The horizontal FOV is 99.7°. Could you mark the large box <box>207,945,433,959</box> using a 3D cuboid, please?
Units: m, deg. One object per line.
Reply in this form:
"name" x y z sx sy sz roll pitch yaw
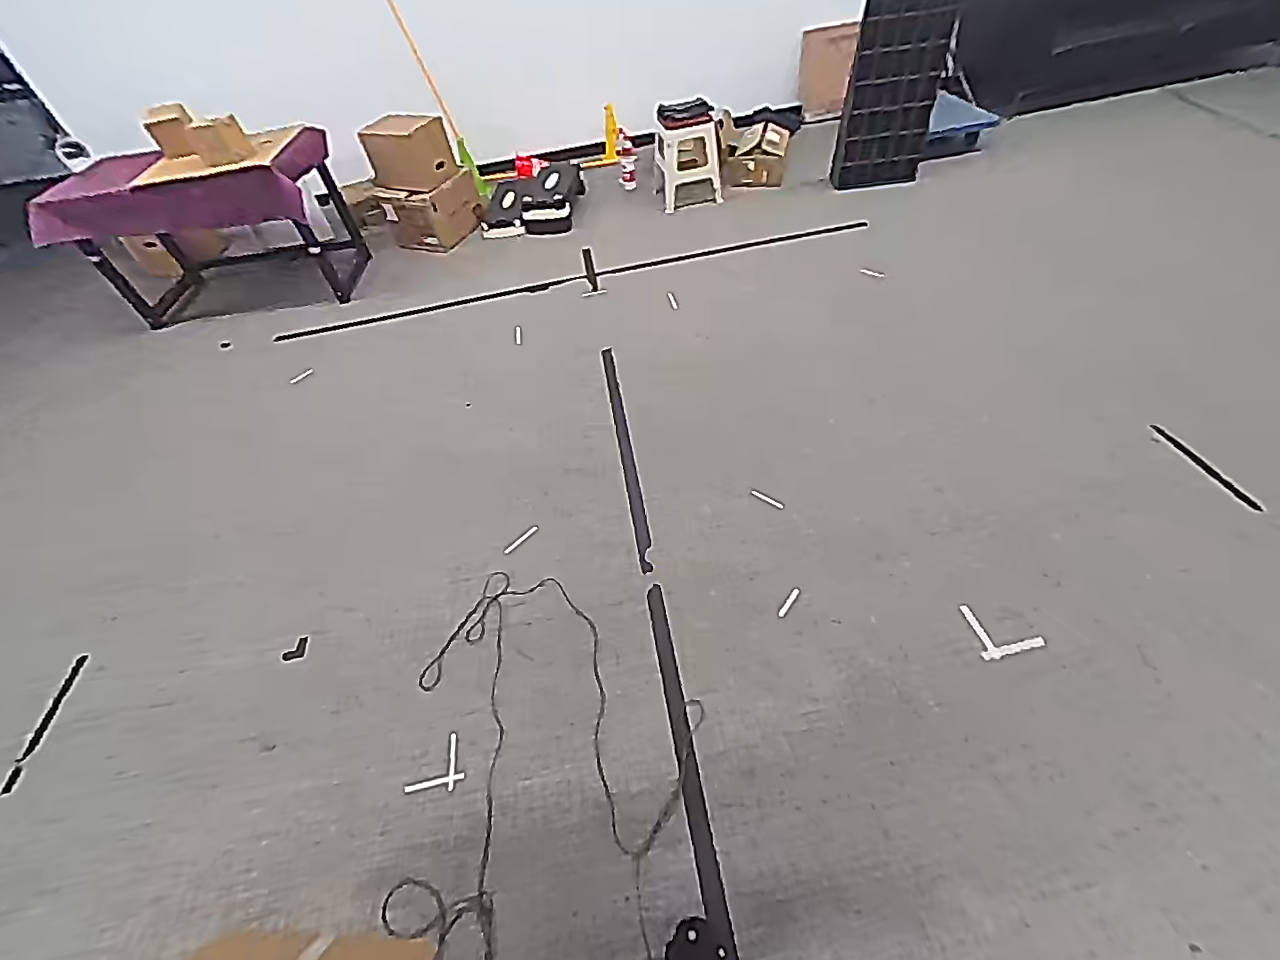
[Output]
"large box" -0.444 0.771 0.568 0.320 0.408 0.320 6 68 -6
